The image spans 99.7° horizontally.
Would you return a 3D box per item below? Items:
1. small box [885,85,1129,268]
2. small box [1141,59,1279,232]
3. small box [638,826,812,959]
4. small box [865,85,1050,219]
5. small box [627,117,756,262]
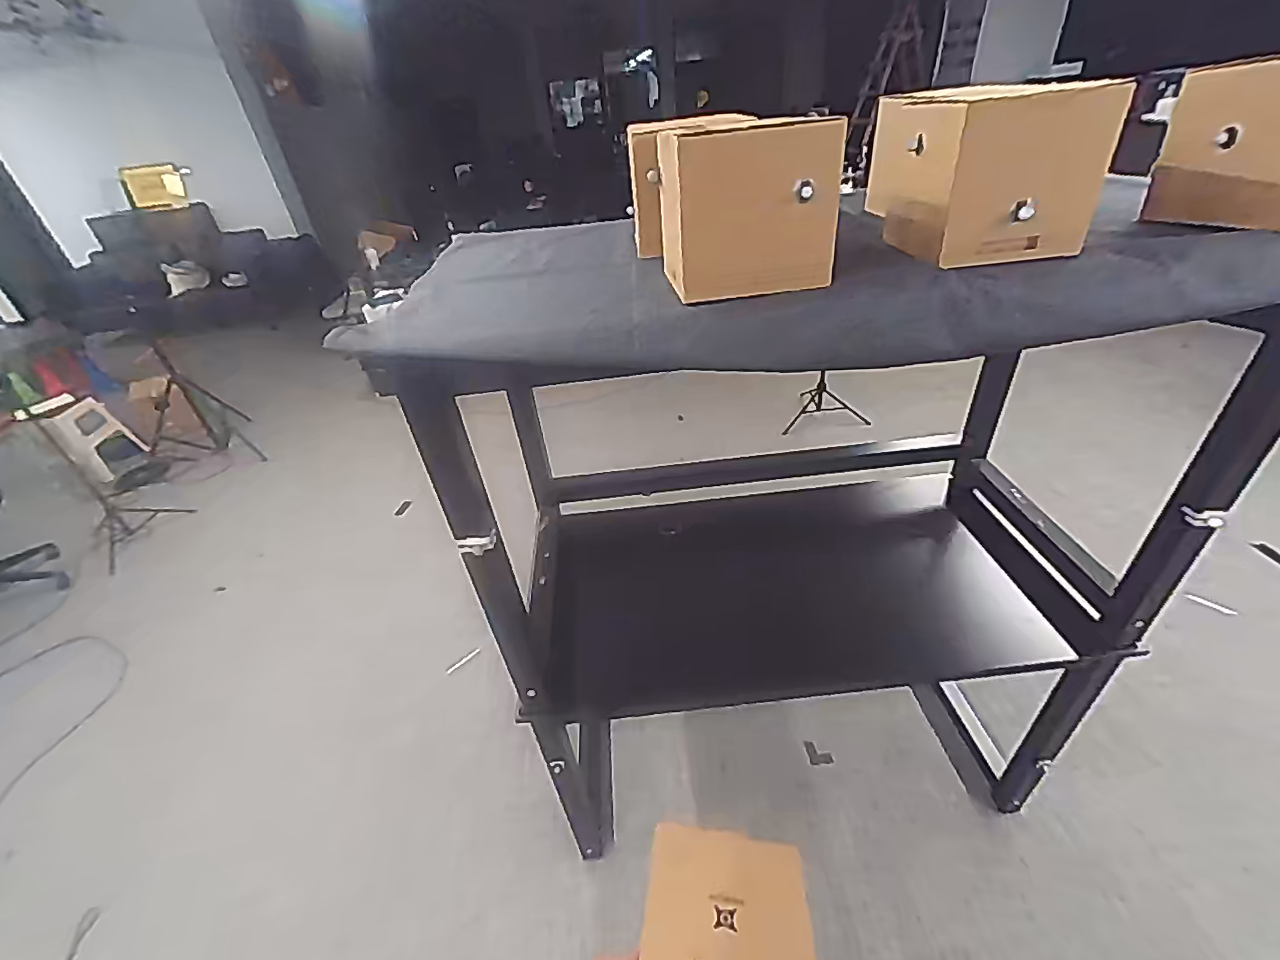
[{"bbox_3d":[0.421,-0.368,0.662,0.168,0.176,0.179,-5,34,3],"label":"small box"},{"bbox_3d":[0.761,-0.394,0.632,0.168,0.176,0.179,-10,30,-4],"label":"small box"},{"bbox_3d":[0.082,0.514,0.566,0.168,0.176,0.179,4,17,7],"label":"small box"},{"bbox_3d":[0.474,-0.500,0.839,0.168,0.176,0.179,-7,36,-2],"label":"small box"},{"bbox_3d":[0.075,-0.453,0.843,0.179,0.176,0.168,-6,36,1],"label":"small box"}]
